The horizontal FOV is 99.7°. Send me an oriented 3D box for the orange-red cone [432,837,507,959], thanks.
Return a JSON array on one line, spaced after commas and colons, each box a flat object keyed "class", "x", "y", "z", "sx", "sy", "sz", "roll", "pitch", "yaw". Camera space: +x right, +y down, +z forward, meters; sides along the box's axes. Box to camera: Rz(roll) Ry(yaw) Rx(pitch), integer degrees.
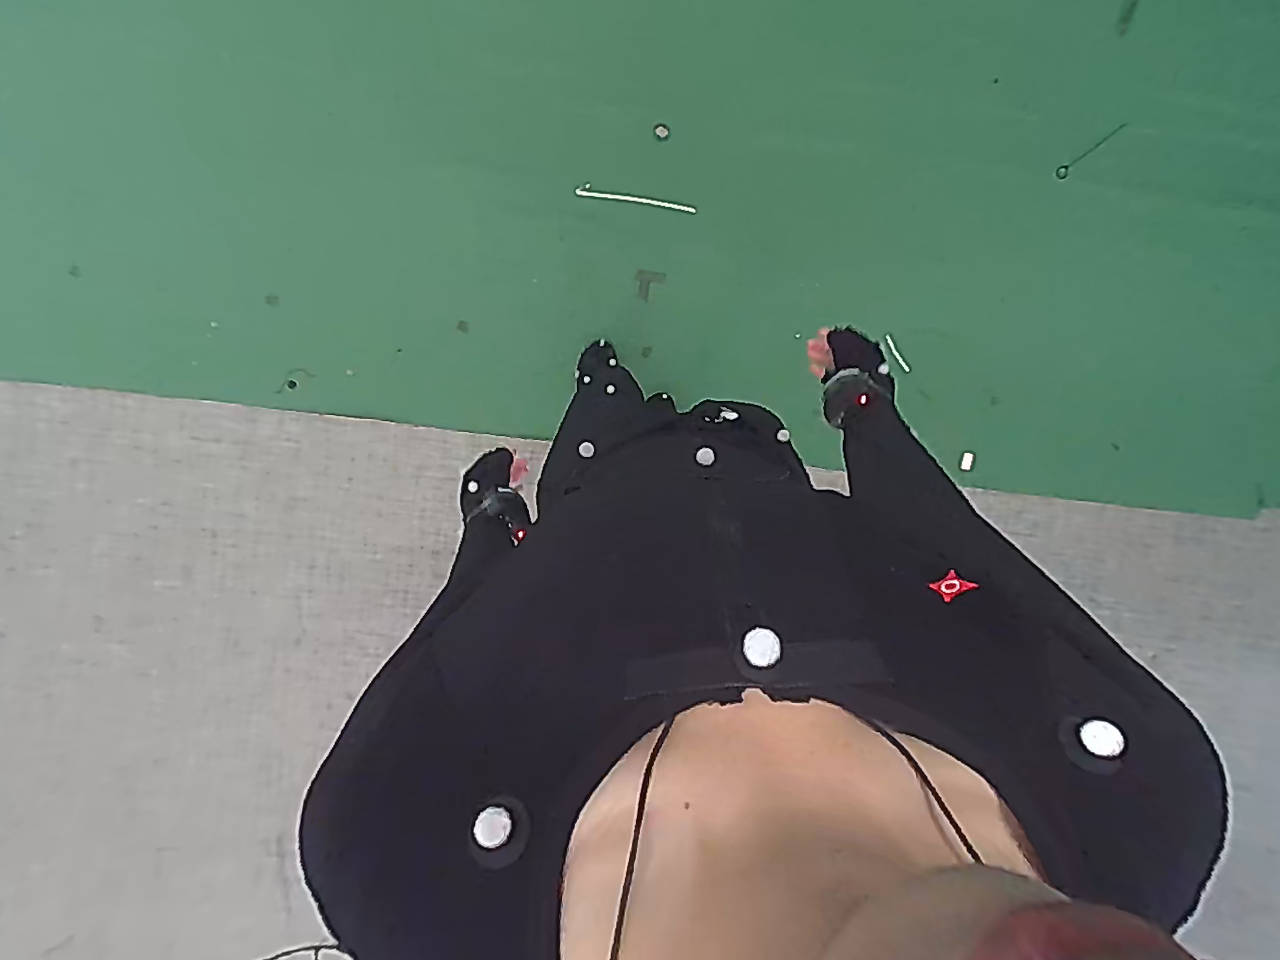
[{"class": "orange-red cone", "x": -0.500, "y": 1.195, "z": 1.464, "sx": 0.198, "sy": 0.360, "sz": 0.199, "roll": 11, "pitch": 96, "yaw": -5}]
